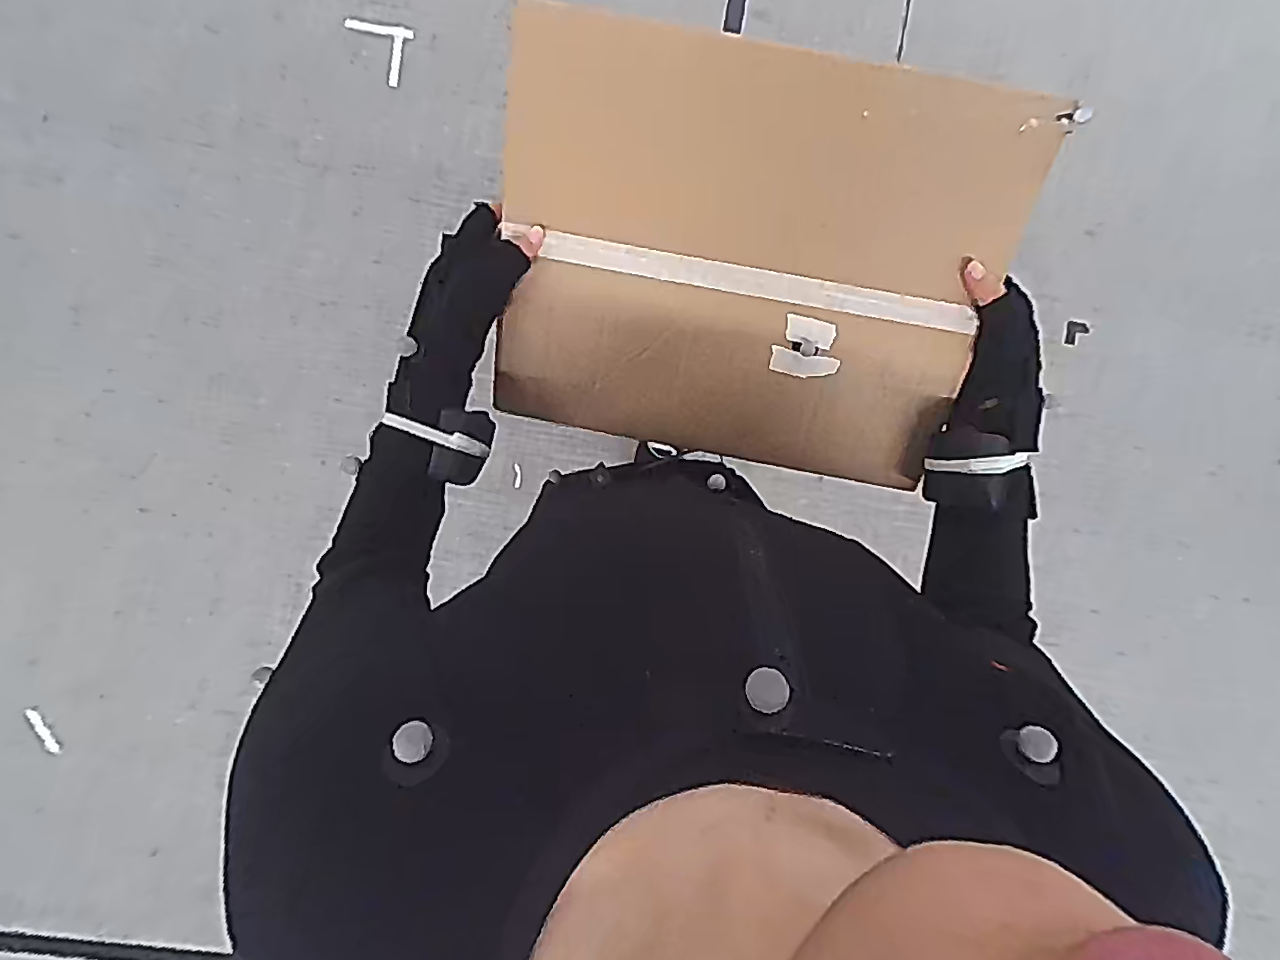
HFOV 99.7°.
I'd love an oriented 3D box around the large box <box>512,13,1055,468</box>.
[{"bbox_3d":[0.104,-0.243,0.601,0.408,0.320,0.320,12,116,1],"label":"large box"}]
